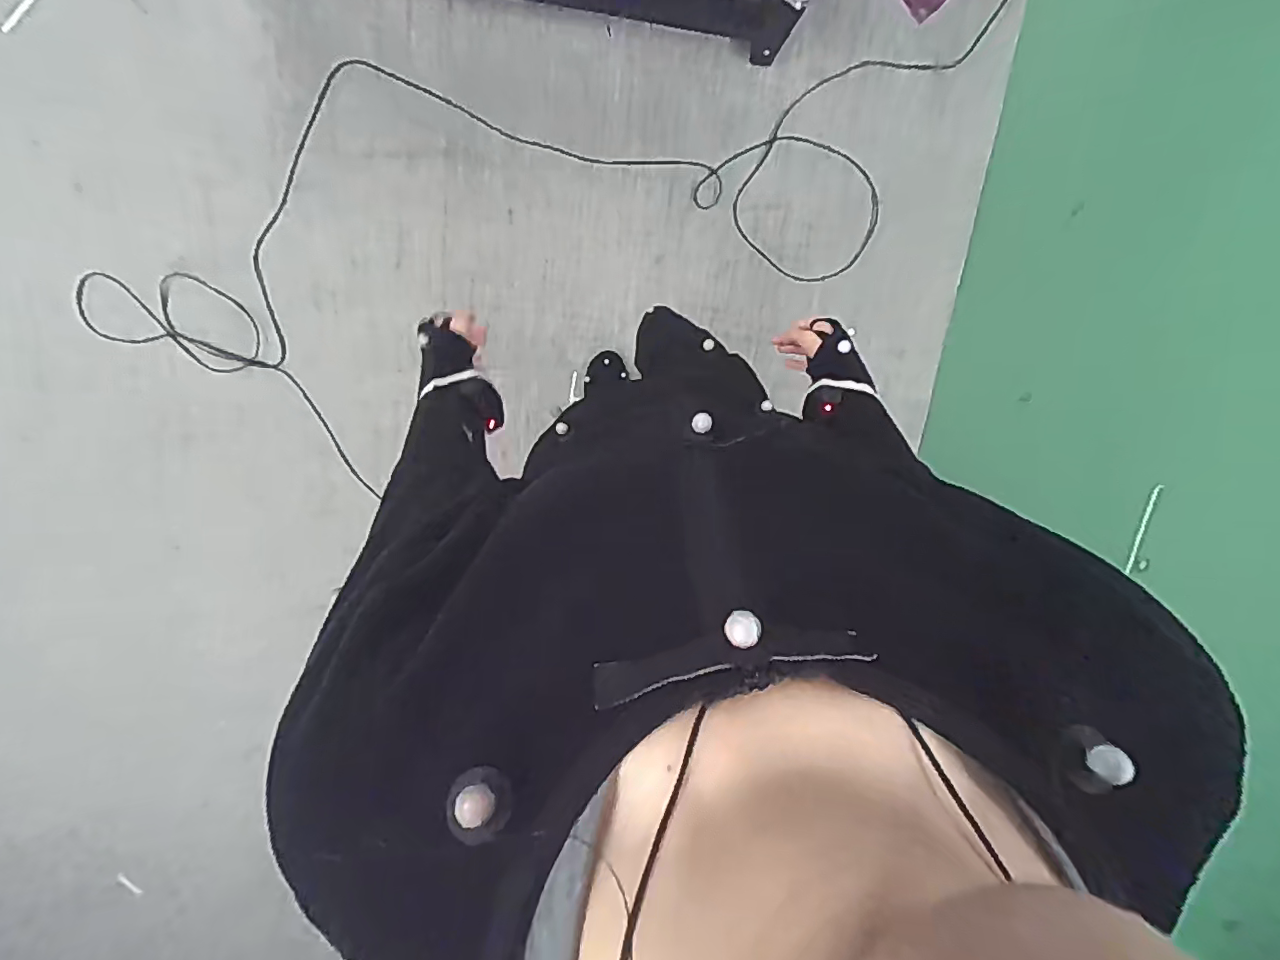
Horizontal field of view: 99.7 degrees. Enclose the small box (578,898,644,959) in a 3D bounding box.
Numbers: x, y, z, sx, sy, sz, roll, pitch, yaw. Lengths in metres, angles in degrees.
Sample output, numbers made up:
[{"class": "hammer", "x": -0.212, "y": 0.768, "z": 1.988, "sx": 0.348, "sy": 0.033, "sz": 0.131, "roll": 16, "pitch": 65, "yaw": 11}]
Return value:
[{"class": "small box", "x": -0.085, "y": 1.343, "z": 1.536, "sx": 0.168, "sy": 0.176, "sz": 0.179, "roll": 9, "pitch": 103, "yaw": -7}]
